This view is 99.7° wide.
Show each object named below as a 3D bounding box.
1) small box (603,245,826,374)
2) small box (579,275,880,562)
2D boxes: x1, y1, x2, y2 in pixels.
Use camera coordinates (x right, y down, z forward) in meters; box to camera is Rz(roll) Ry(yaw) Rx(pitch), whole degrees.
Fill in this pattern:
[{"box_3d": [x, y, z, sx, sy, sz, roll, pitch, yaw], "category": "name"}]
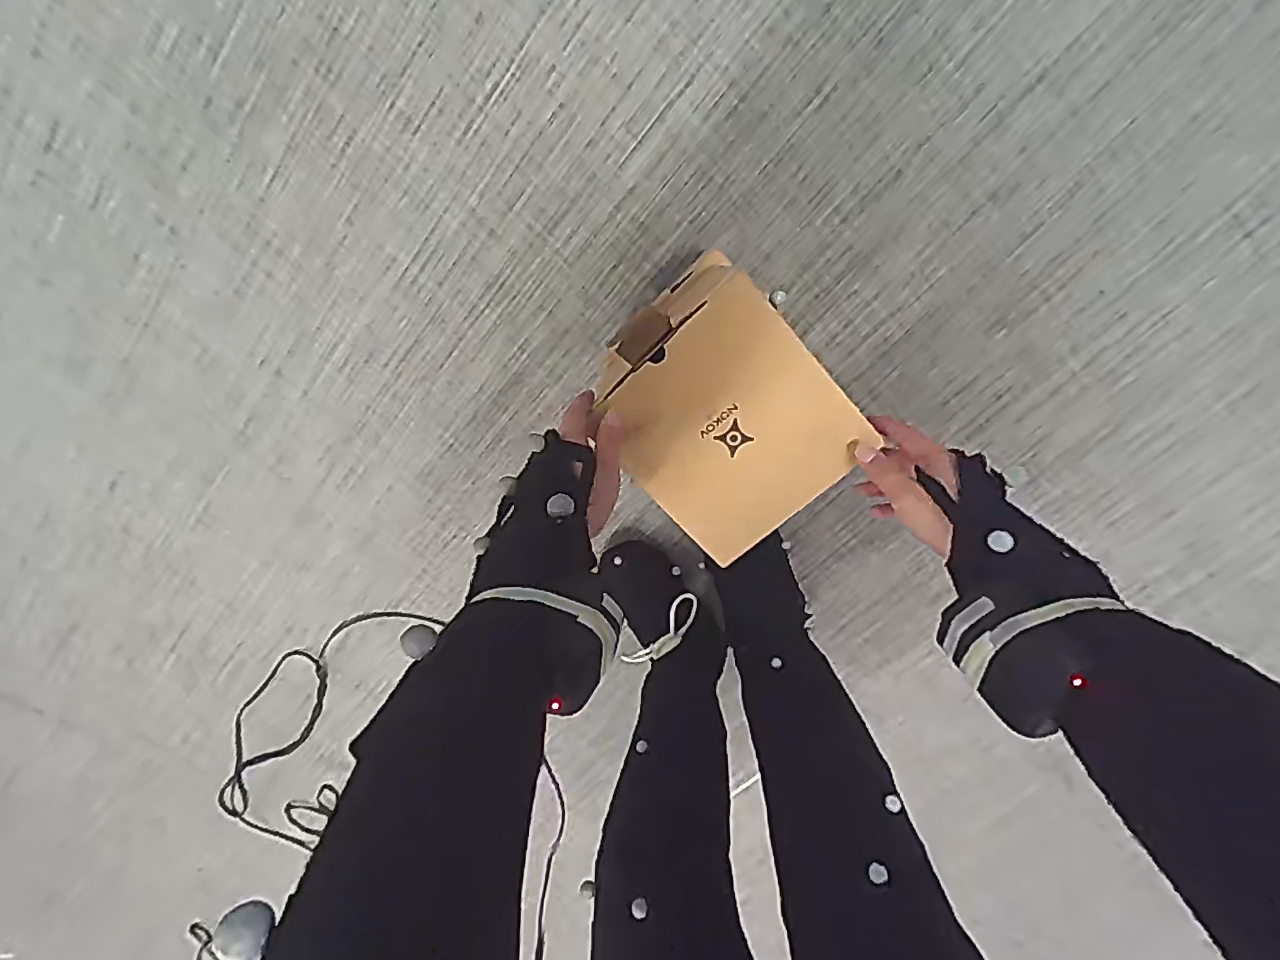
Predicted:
[{"box_3d": [0.080, -0.144, 0.633, 0.168, 0.176, 0.179, -42, 103, 17], "category": "small box"}, {"box_3d": [0.074, -0.067, 0.489, 0.168, 0.176, 0.179, -41, 104, 17], "category": "small box"}]
